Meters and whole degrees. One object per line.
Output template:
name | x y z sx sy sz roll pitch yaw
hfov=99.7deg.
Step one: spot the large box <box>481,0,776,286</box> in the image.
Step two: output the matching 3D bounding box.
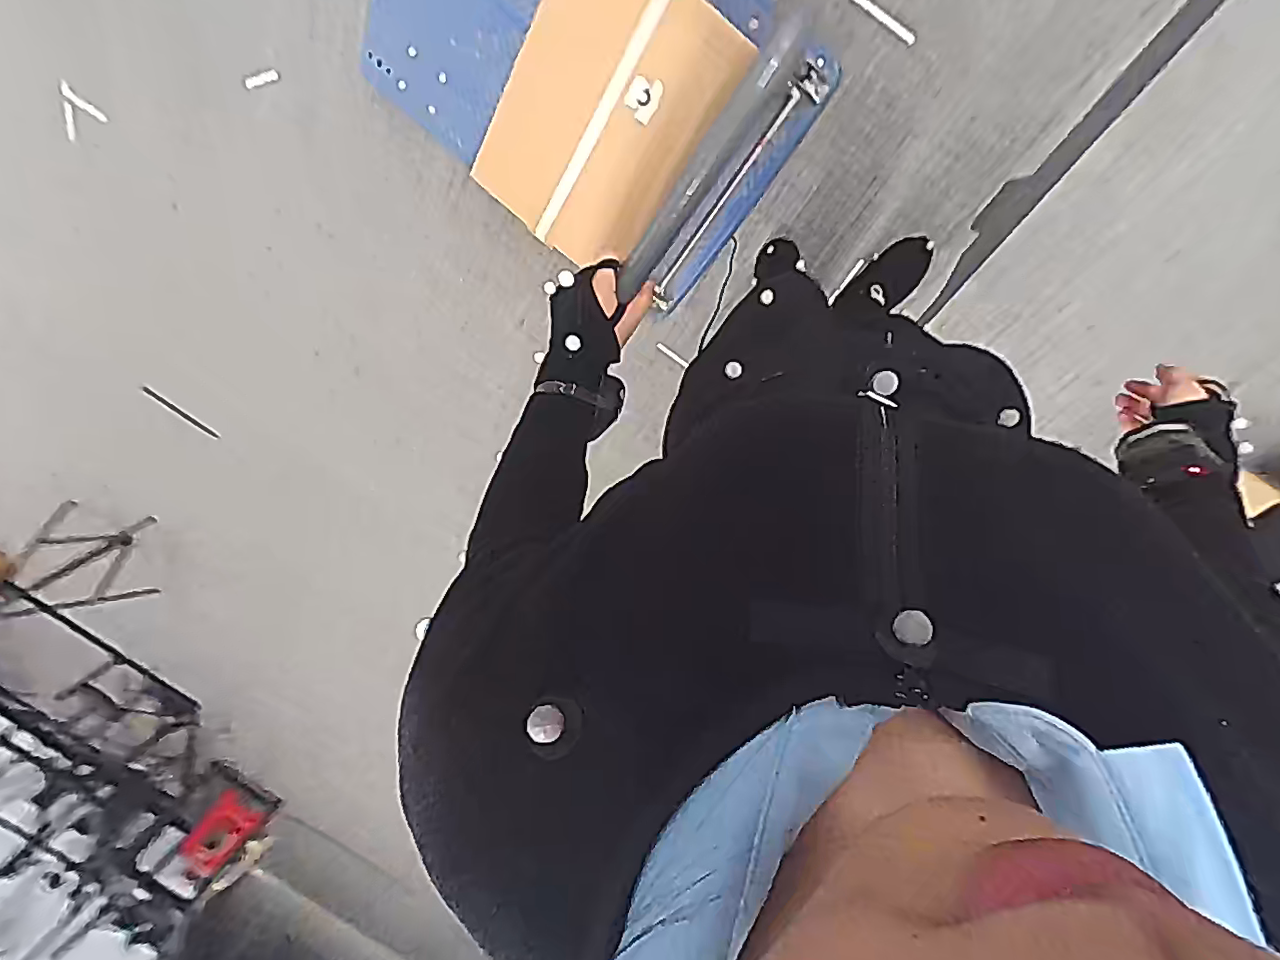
large box | -0.013 -0.628 0.971 0.320 0.320 0.408 38 123 -5
